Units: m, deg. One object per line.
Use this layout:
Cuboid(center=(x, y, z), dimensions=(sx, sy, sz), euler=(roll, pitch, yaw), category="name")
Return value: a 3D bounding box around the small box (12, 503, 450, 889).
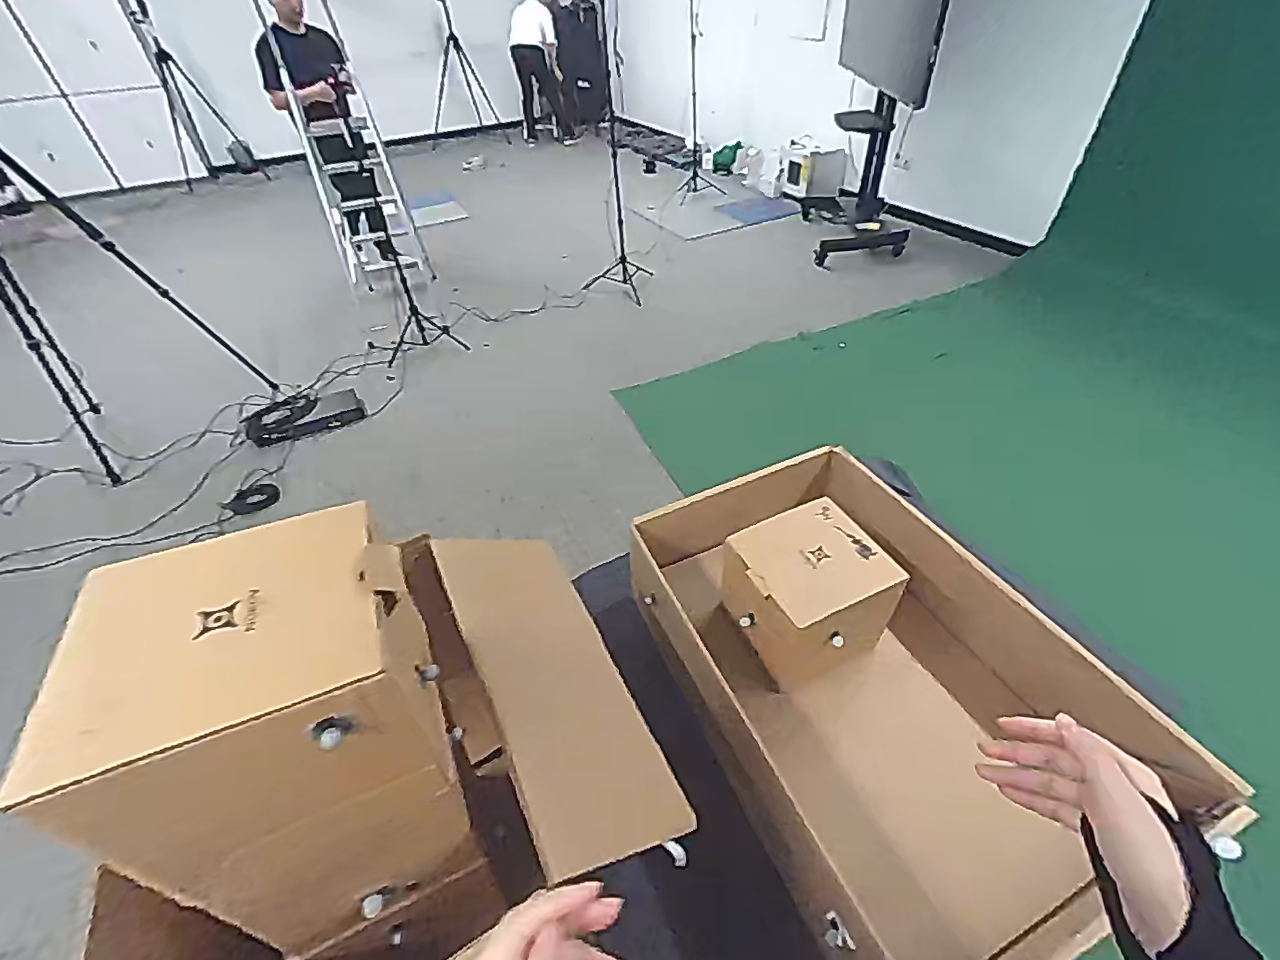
Cuboid(center=(-0.255, 0.149, 0.391), dimensions=(0.179, 0.176, 0.168), euler=(-16, 43, -20), category="small box")
